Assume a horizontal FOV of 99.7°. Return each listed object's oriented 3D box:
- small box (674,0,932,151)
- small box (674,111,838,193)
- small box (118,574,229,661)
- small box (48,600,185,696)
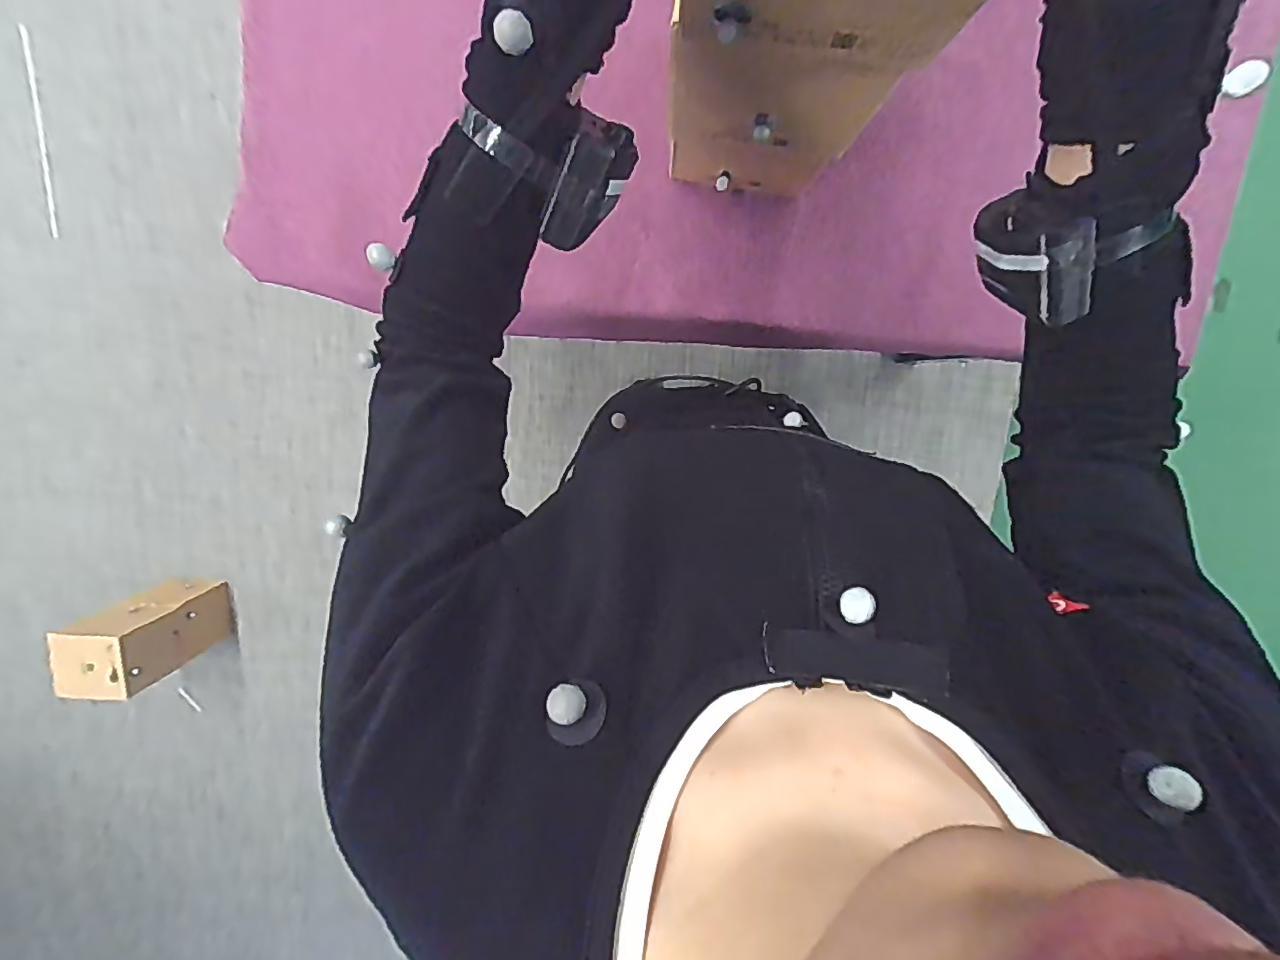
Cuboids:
[{"bbox_3d":[0.118,-0.391,0.417,0.168,0.176,0.179,8,101,1],"label":"small box"},{"bbox_3d":[0.130,-0.436,0.575,0.168,0.176,0.179,9,101,1],"label":"small box"},{"bbox_3d":[-1.286,0.378,1.505,0.168,0.176,0.179,4,101,1],"label":"small box"},{"bbox_3d":[-1.289,0.409,1.343,0.179,0.176,0.168,4,101,2],"label":"small box"}]
